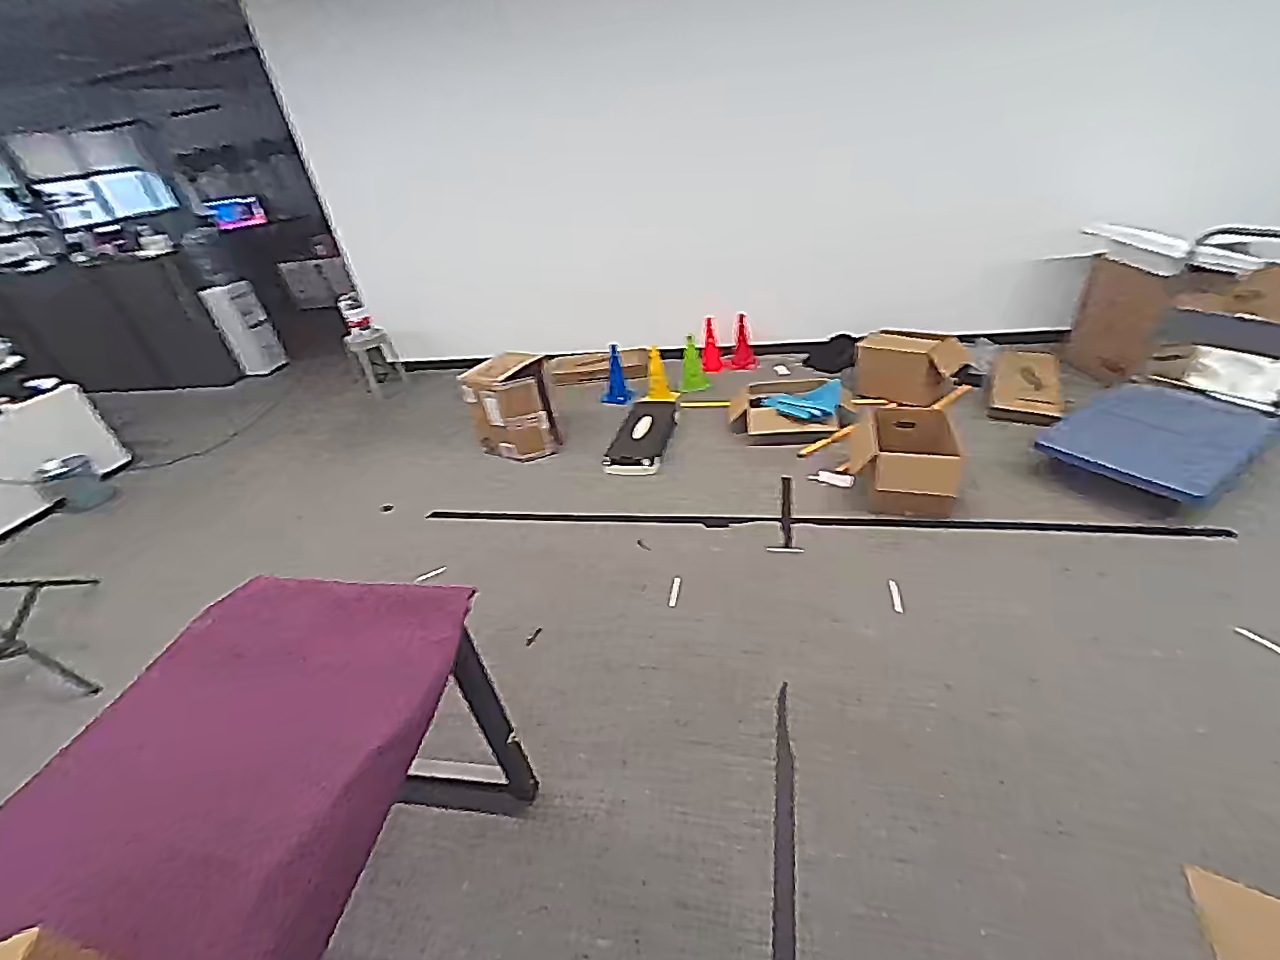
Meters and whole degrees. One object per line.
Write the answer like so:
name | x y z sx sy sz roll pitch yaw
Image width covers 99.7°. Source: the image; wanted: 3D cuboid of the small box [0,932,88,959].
small box | -0.685 0.624 0.554 0.168 0.176 0.179 -16 33 -9
